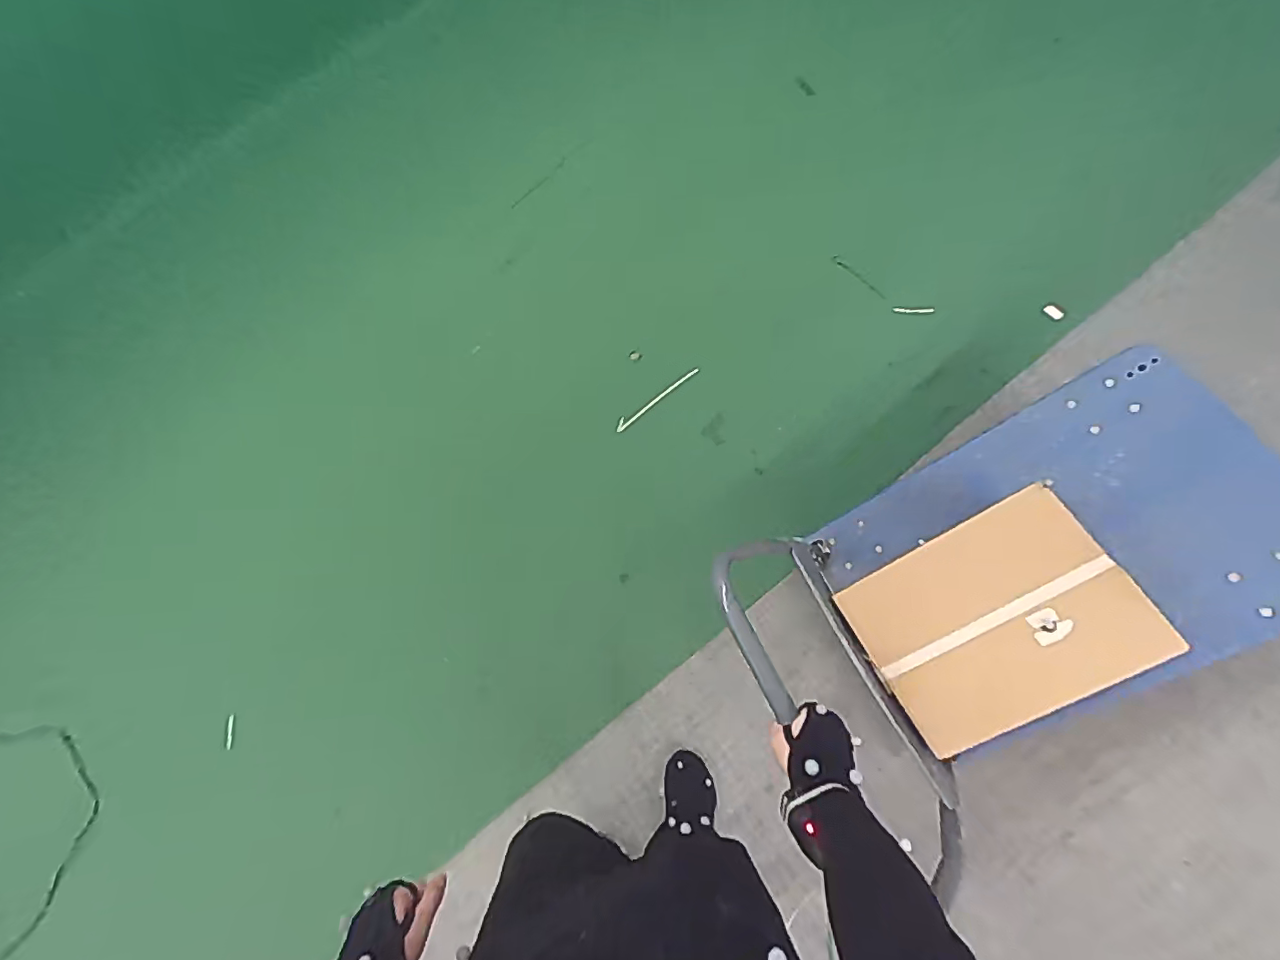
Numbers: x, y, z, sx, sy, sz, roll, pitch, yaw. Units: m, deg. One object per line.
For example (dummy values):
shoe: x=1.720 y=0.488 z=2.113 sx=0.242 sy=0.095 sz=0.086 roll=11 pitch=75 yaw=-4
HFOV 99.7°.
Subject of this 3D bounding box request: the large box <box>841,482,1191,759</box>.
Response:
large box: x=0.658 y=0.264 z=1.037 sx=0.408 sy=0.320 sz=0.320 roll=-34 pitch=67 yaw=15
